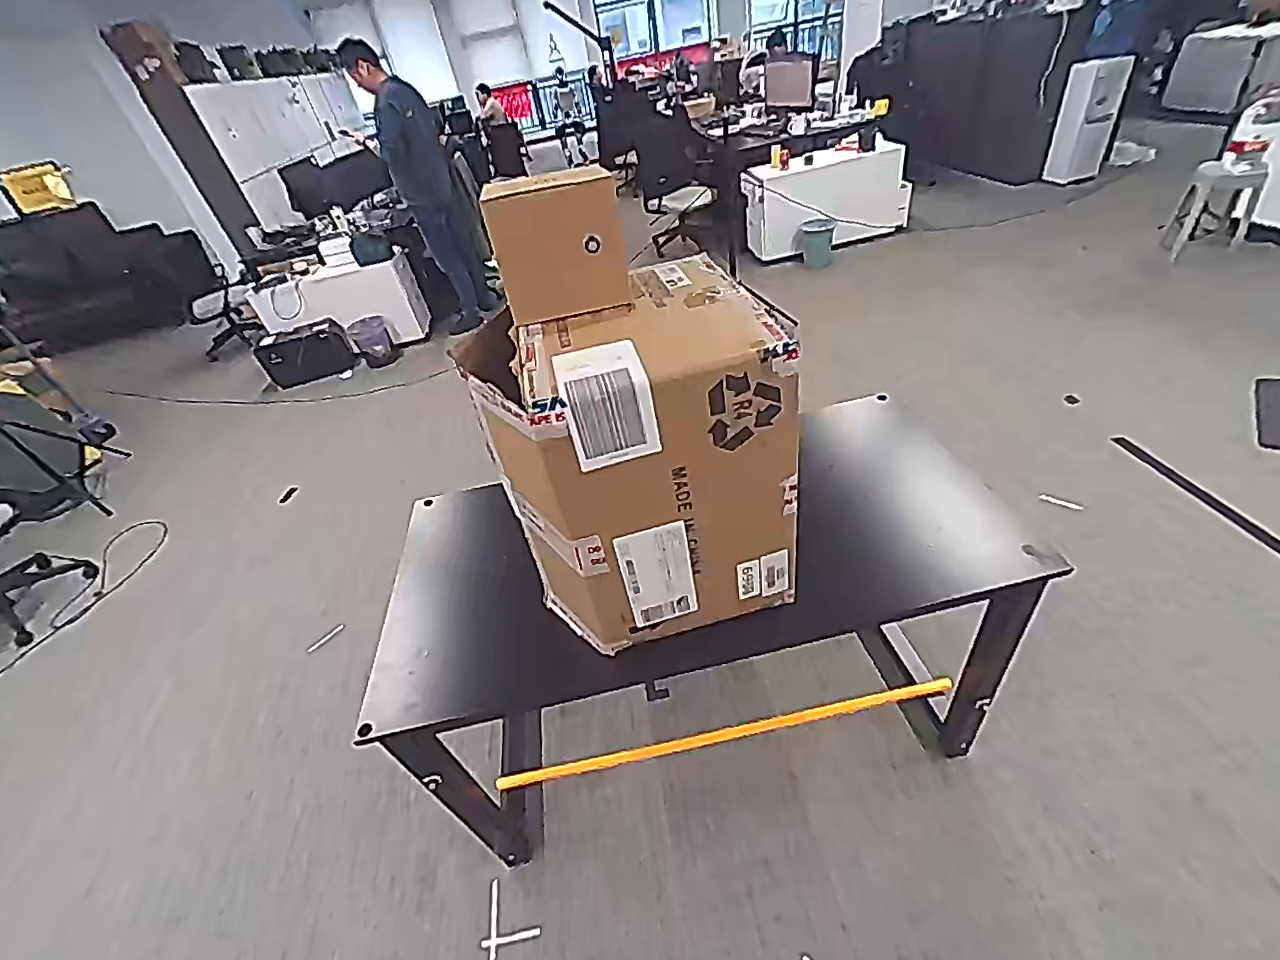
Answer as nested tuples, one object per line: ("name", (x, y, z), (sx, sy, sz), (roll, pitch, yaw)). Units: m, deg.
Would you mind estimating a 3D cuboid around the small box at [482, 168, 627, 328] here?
("small box", (-0.121, -0.345, 0.803), (0.179, 0.176, 0.168), (-14, 36, -4))
